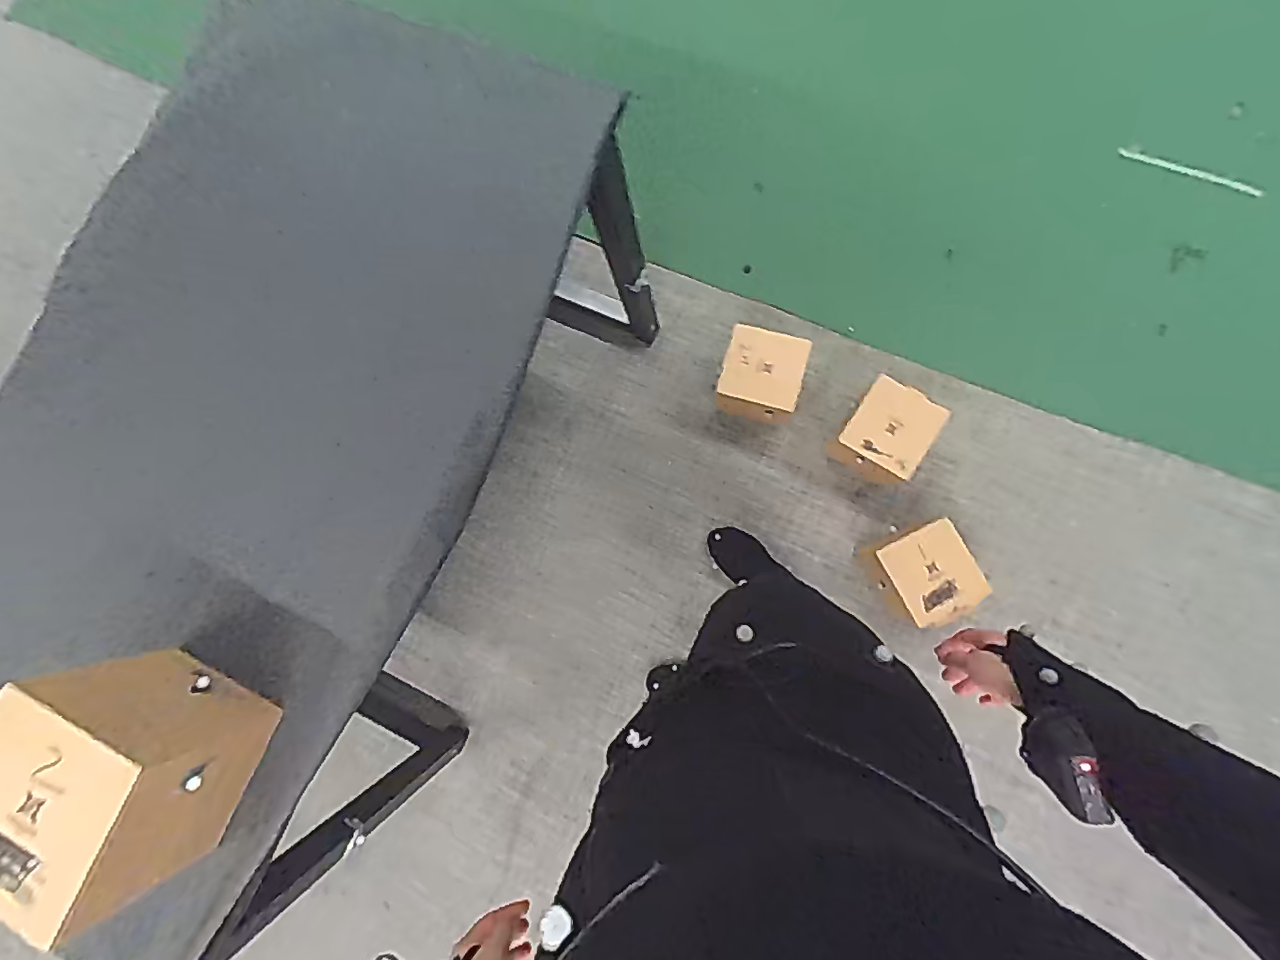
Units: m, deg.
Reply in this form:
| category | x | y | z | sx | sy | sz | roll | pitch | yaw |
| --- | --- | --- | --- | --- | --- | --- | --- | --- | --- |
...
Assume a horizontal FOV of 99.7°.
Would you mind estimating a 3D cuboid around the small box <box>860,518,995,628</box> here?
| category | x | y | z | sx | sy | sz | roll | pitch | yaw |
| --- | --- | --- | --- | --- | --- | --- | --- | --- | --- |
| small box | 0.611 | 0.195 | 1.174 | 0.168 | 0.176 | 0.179 | -28 | 81 | 4 |

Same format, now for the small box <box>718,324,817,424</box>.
| category | x | y | z | sx | sy | sz | roll | pitch | yaw |
| --- | --- | --- | --- | --- | --- | --- | --- | --- | --- |
| small box | 0.288 | -0.237 | 1.256 | 0.179 | 0.176 | 0.168 | 16 | 86 | 8 |

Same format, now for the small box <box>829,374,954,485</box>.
| category | x | y | z | sx | sy | sz | roll | pitch | yaw |
| --- | --- | --- | --- | --- | --- | --- | --- | --- | --- |
| small box | 0.550 | -0.105 | 1.210 | 0.168 | 0.176 | 0.179 | 33 | 89 | 8 |
